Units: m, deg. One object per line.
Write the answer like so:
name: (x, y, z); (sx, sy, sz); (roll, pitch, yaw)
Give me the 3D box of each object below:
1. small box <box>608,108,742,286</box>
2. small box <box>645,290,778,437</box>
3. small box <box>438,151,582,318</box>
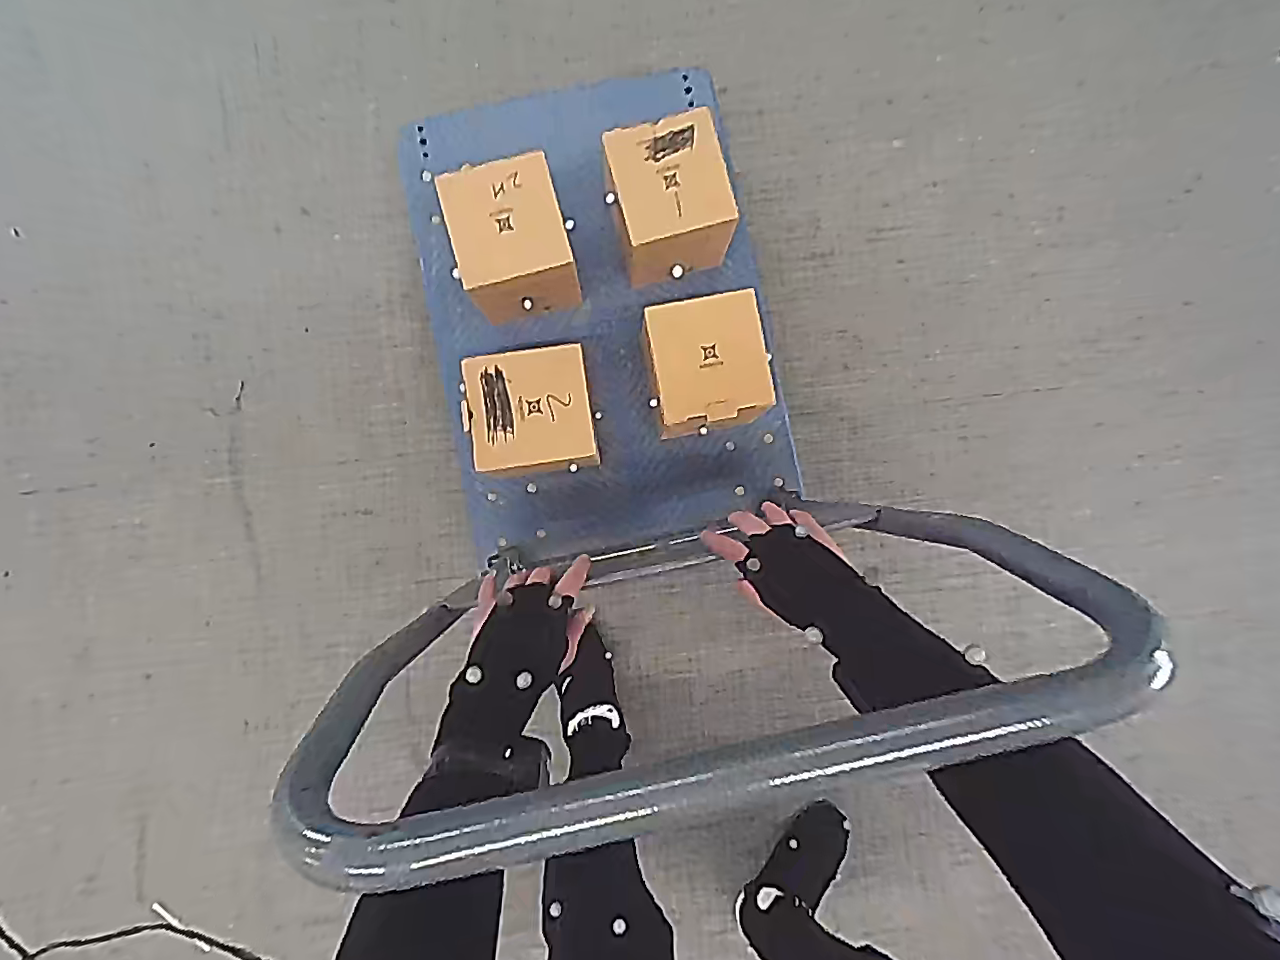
small box: (0.048, -0.440, 0.867); (0.168, 0.176, 0.179); (-15, 89, -1)
small box: (0.103, -0.175, 0.859); (0.168, 0.176, 0.179); (-10, 88, -2)
small box: (-0.194, -0.373, 0.860); (0.168, 0.176, 0.179); (-15, 88, -3)
